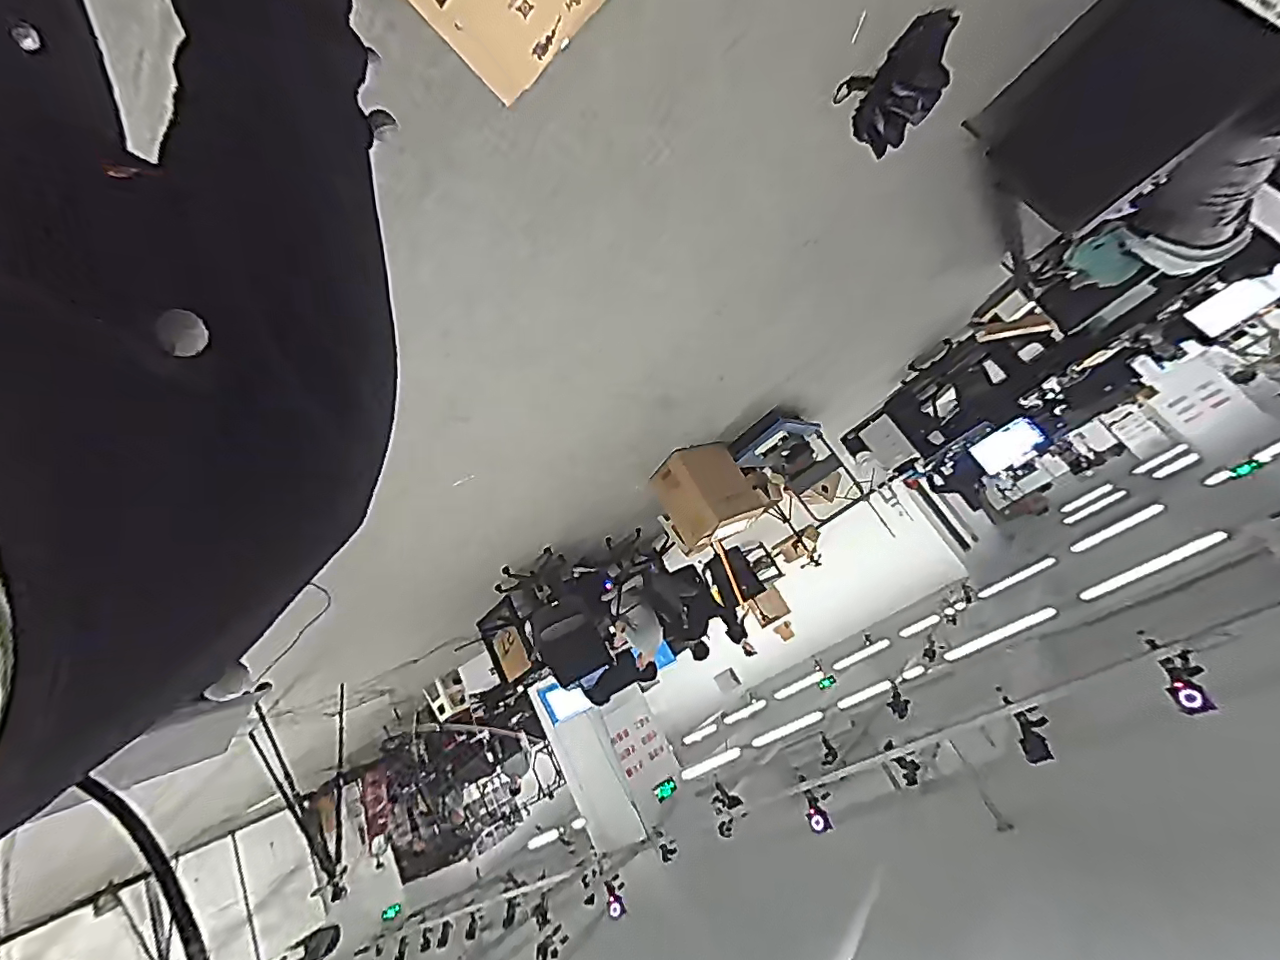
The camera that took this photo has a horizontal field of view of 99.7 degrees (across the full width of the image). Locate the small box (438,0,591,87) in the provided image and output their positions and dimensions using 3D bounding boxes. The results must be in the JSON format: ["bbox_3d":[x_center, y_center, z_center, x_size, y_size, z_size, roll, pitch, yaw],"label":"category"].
[{"bbox_3d":[-0.209,-0.749,0.795,0.168,0.176,0.179,-38,159,24],"label":"small box"}]
